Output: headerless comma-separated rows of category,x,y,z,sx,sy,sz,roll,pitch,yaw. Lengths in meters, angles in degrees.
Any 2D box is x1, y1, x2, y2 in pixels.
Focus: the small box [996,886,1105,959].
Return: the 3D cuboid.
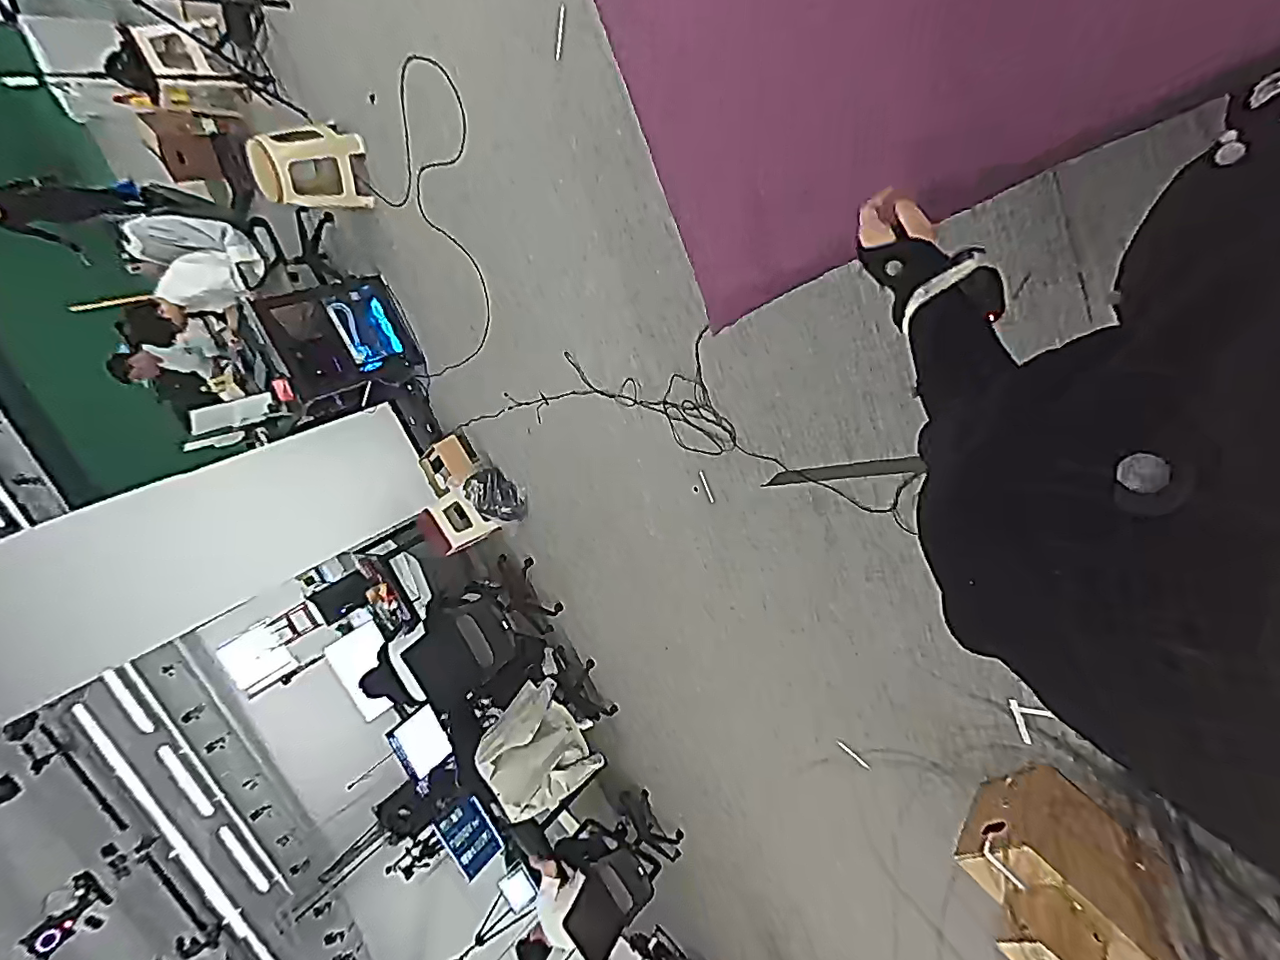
small box,1.136,1.266,1.494,0.168,0.176,0.179,42,141,18
